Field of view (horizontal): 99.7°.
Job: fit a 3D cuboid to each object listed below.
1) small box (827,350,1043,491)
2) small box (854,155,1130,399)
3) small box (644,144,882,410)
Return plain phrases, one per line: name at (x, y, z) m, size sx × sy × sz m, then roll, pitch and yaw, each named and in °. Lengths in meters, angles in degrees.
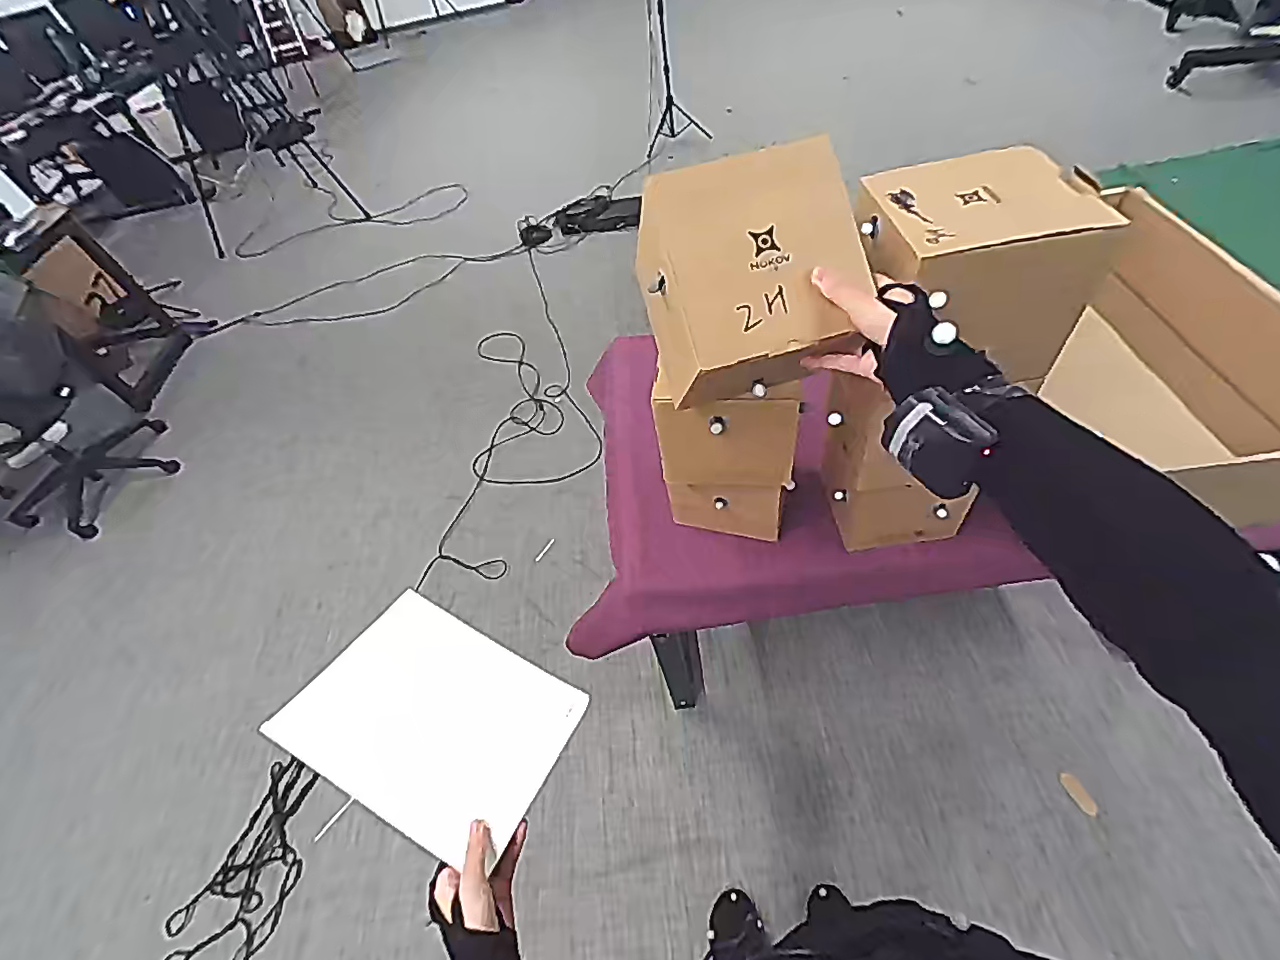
small box at (0.354, -0.104, 0.692) m, size 0.179 × 0.176 × 0.168 m, roll -8°, pitch 50°, yaw 6°
small box at (0.329, -0.206, 0.565) m, size 0.179 × 0.176 × 0.168 m, roll -7°, pitch 50°, yaw 4°
small box at (0.104, -0.185, 0.540) m, size 0.168 × 0.176 × 0.179 m, roll -15°, pitch 87°, yaw -3°
